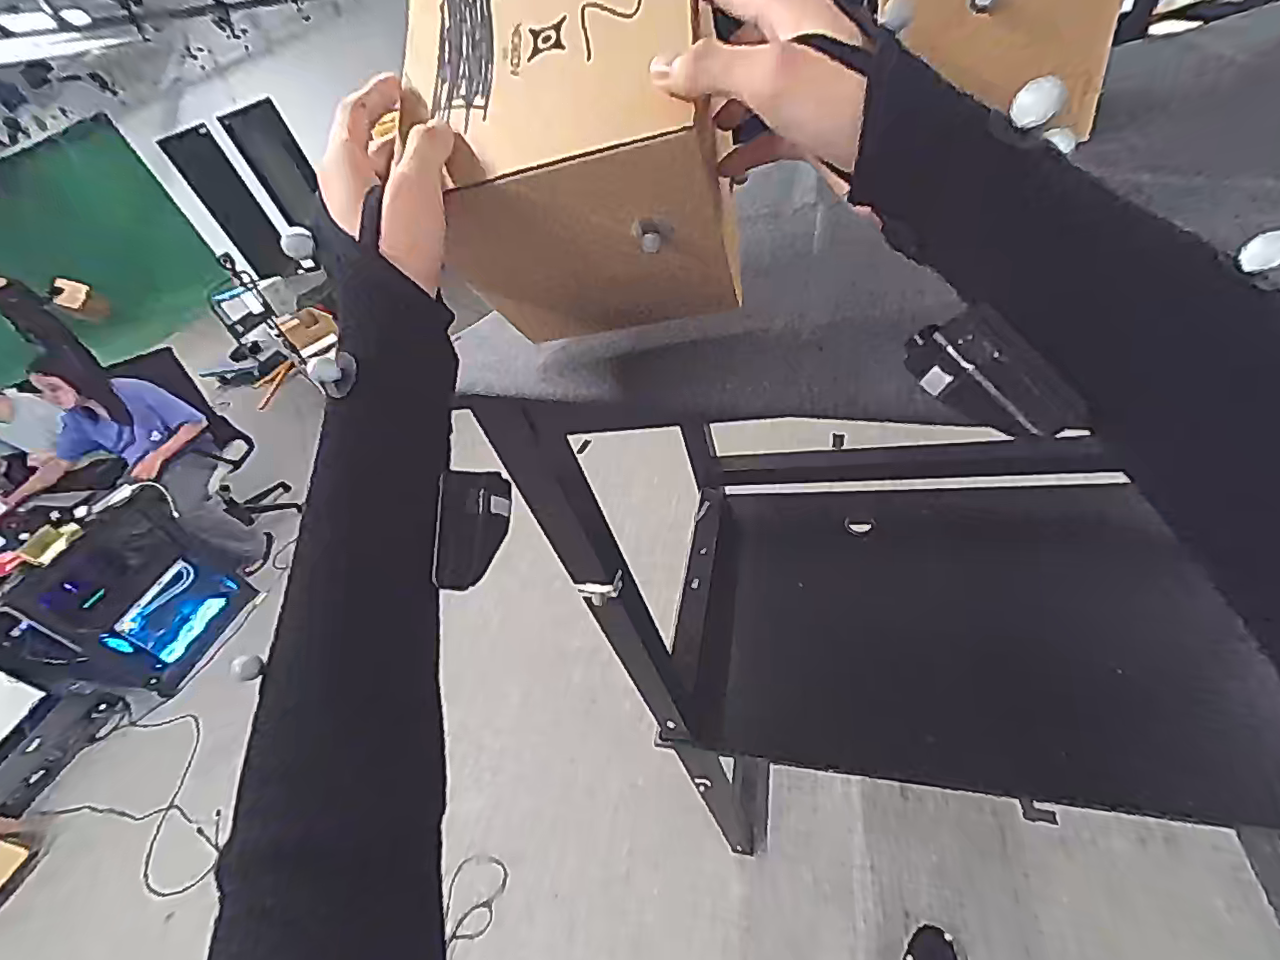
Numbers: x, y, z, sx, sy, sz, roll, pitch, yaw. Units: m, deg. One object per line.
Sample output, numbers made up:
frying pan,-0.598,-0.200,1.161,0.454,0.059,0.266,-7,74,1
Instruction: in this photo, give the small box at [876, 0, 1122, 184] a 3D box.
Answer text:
small box,0.322,-0.408,0.510,0.179,0.176,0.168,1,45,24
